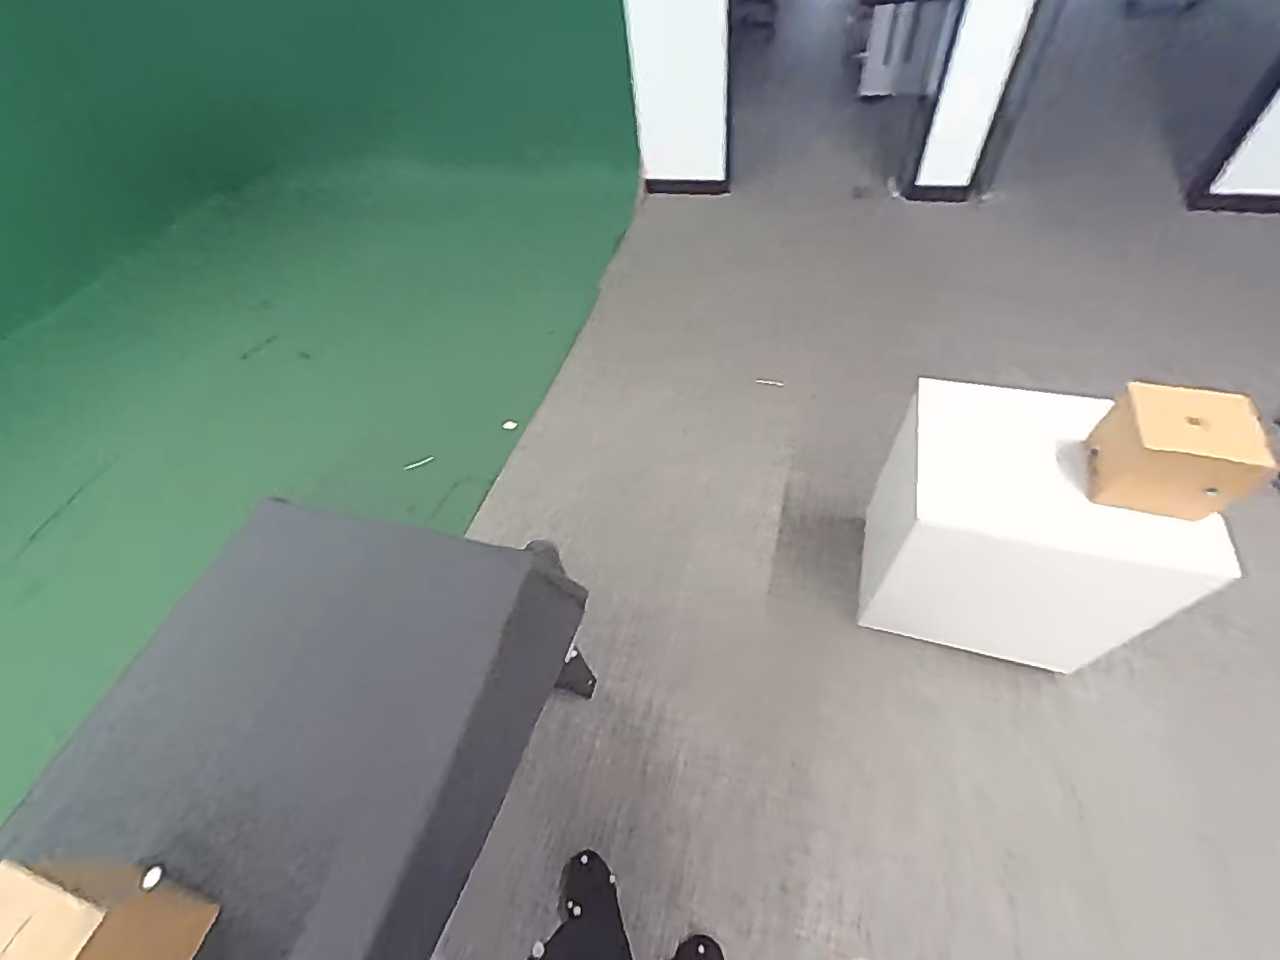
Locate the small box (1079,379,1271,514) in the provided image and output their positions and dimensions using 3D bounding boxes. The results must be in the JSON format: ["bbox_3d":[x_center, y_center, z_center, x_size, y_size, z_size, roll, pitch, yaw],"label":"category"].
[{"bbox_3d":[0.942,-0.057,0.974,0.179,0.176,0.168,10,55,17],"label":"small box"}]

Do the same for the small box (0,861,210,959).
[{"bbox_3d":[-0.641,0.549,0.592,0.168,0.176,0.179,10,55,15],"label":"small box"}]
